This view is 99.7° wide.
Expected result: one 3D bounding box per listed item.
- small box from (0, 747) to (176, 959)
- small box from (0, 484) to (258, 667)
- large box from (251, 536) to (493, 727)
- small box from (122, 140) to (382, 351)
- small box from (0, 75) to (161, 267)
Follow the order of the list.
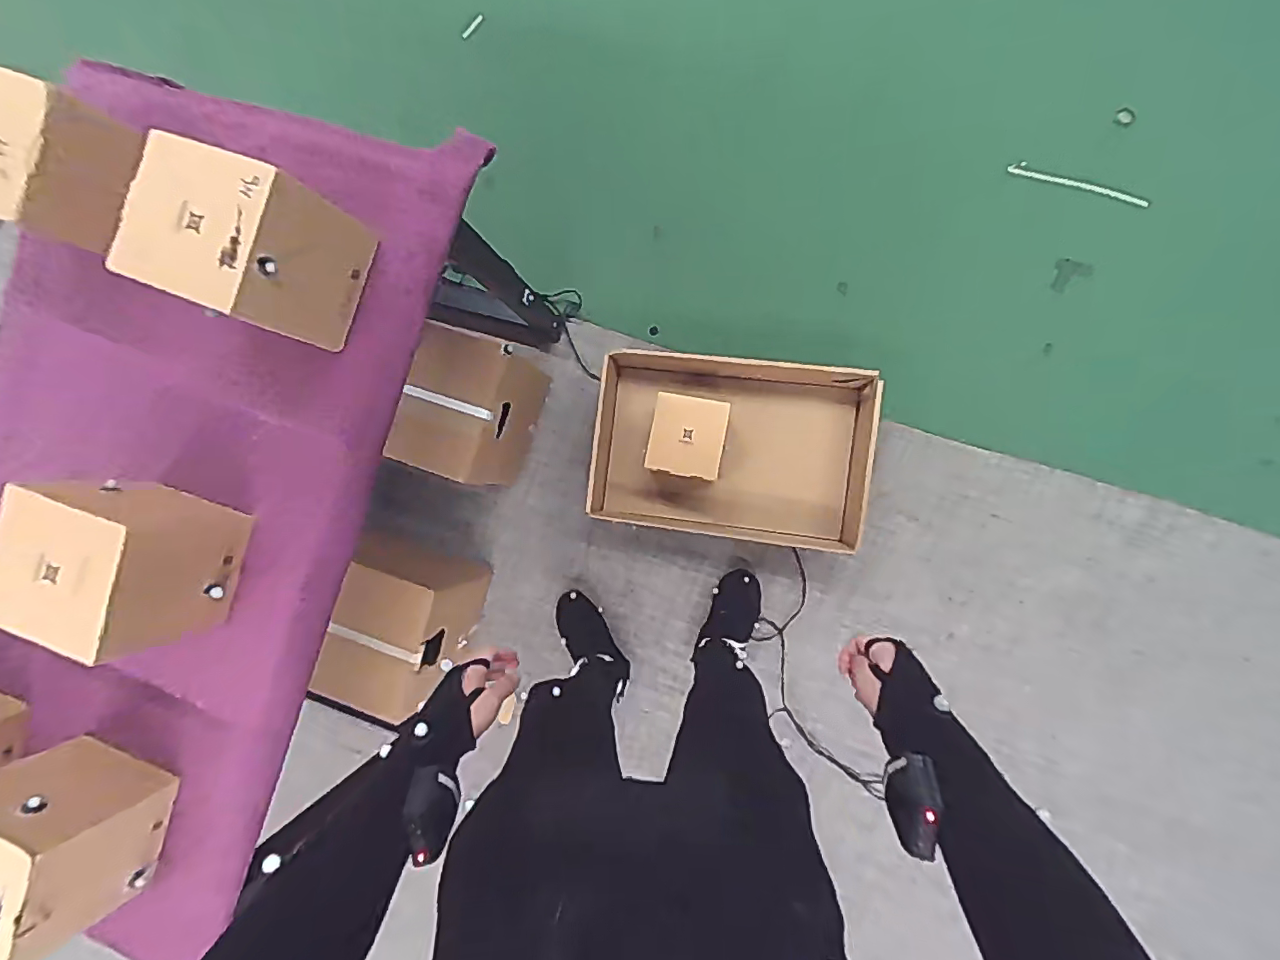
[{"bbox_3d":[-0.760,0.477,0.696,0.179,0.176,0.168,17,90,10],"label":"small box"},{"bbox_3d":[-0.649,0.110,0.692,0.179,0.176,0.168,17,92,9],"label":"small box"},{"bbox_3d":[-0.643,0.349,1.352,0.408,0.320,0.320,16,90,10],"label":"large box"},{"bbox_3d":[-0.467,-0.276,0.673,0.179,0.176,0.168,21,93,11],"label":"small box"},{"bbox_3d":[-0.755,-0.395,0.717,0.179,0.176,0.168,20,94,7],"label":"small box"}]
